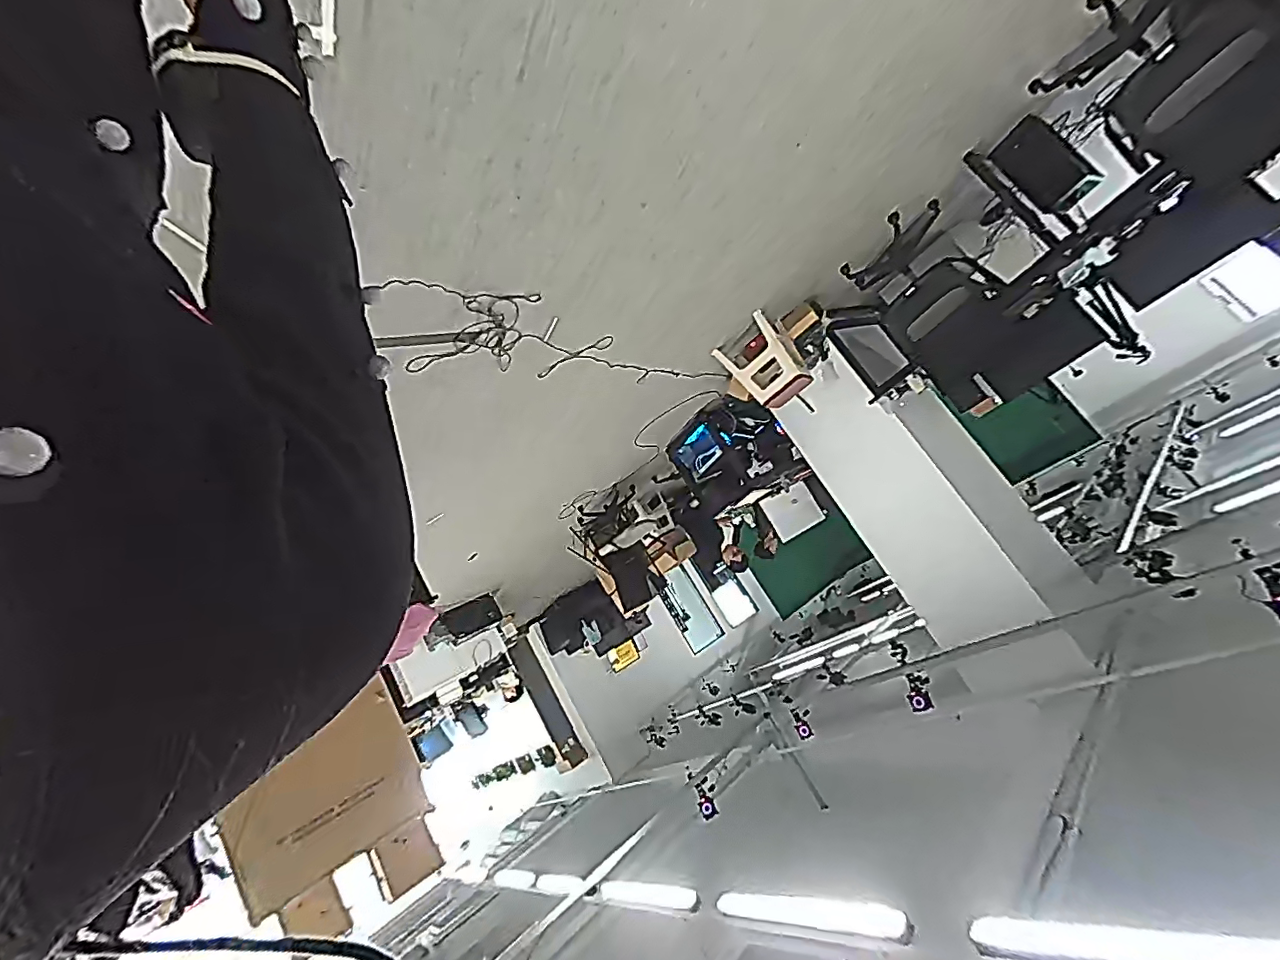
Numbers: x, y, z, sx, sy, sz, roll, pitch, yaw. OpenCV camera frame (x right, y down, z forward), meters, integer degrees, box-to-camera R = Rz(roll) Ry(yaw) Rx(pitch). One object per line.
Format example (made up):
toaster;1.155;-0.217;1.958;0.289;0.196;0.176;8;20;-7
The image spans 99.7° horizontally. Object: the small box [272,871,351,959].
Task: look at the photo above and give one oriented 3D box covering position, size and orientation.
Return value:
small box;-1.025;1.361;1.685;0.168;0.176;0.179;-22;163;-38
